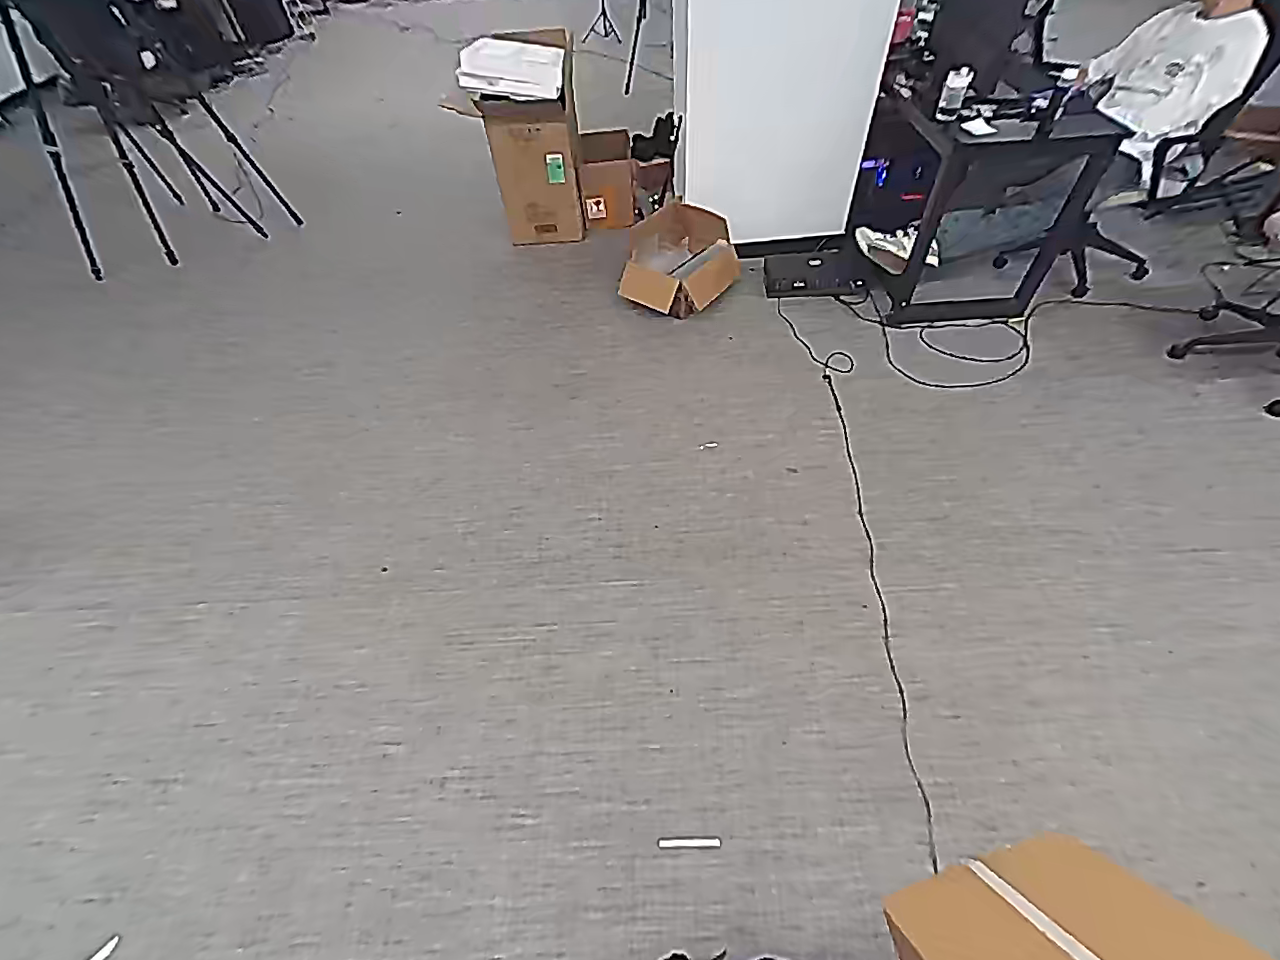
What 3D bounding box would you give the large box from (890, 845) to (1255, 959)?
[{"bbox_3d":[0.569,0.717,0.610,0.320,0.408,0.320,-17,83,-5],"label":"large box"}]
